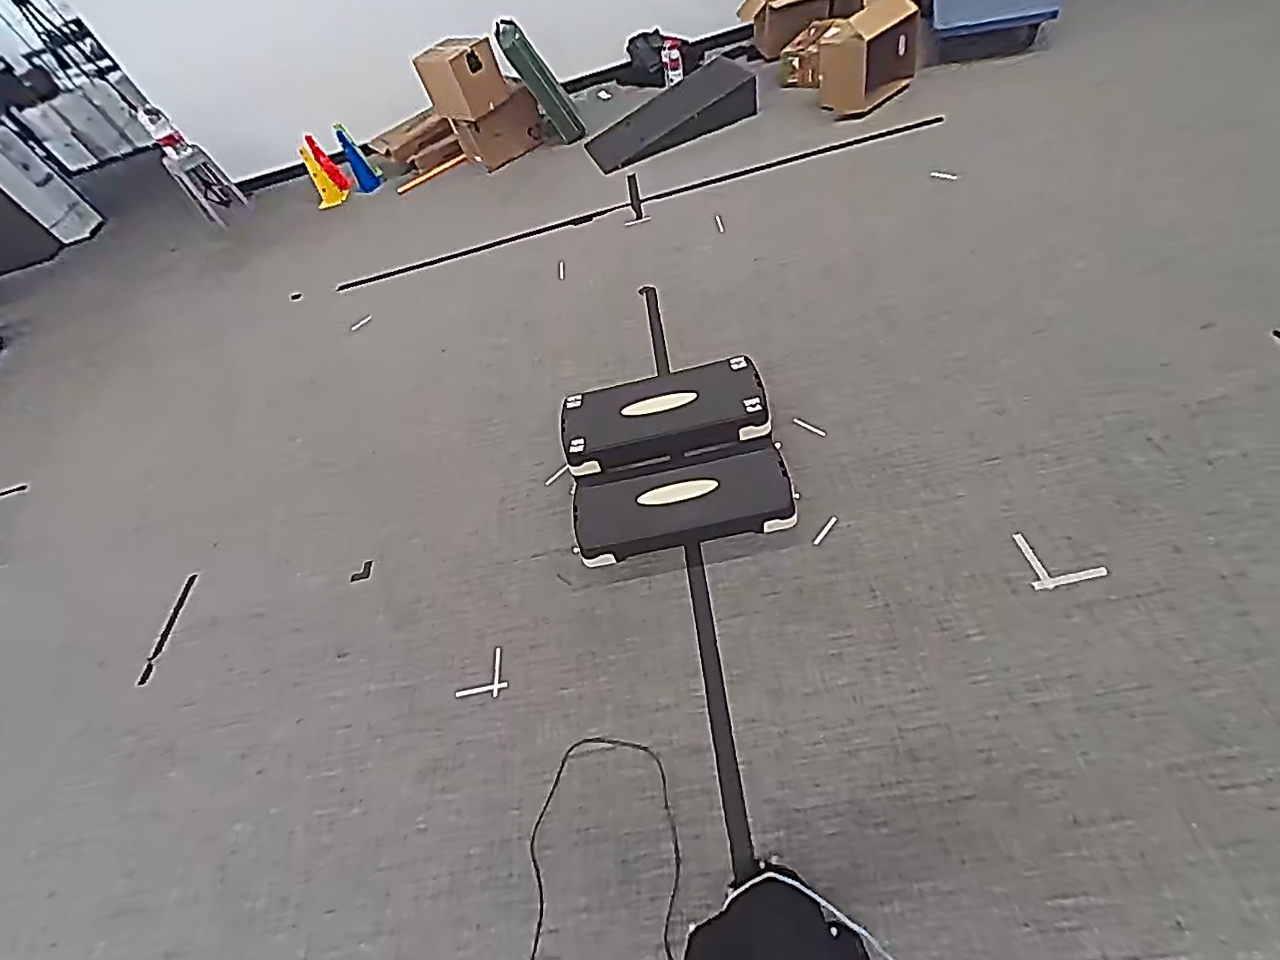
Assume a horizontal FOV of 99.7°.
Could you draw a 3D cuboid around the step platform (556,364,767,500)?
[{"bbox_3d":[0.065,-0.161,1.796,0.684,0.204,0.286,-13,53,5],"label":"step platform"}]
